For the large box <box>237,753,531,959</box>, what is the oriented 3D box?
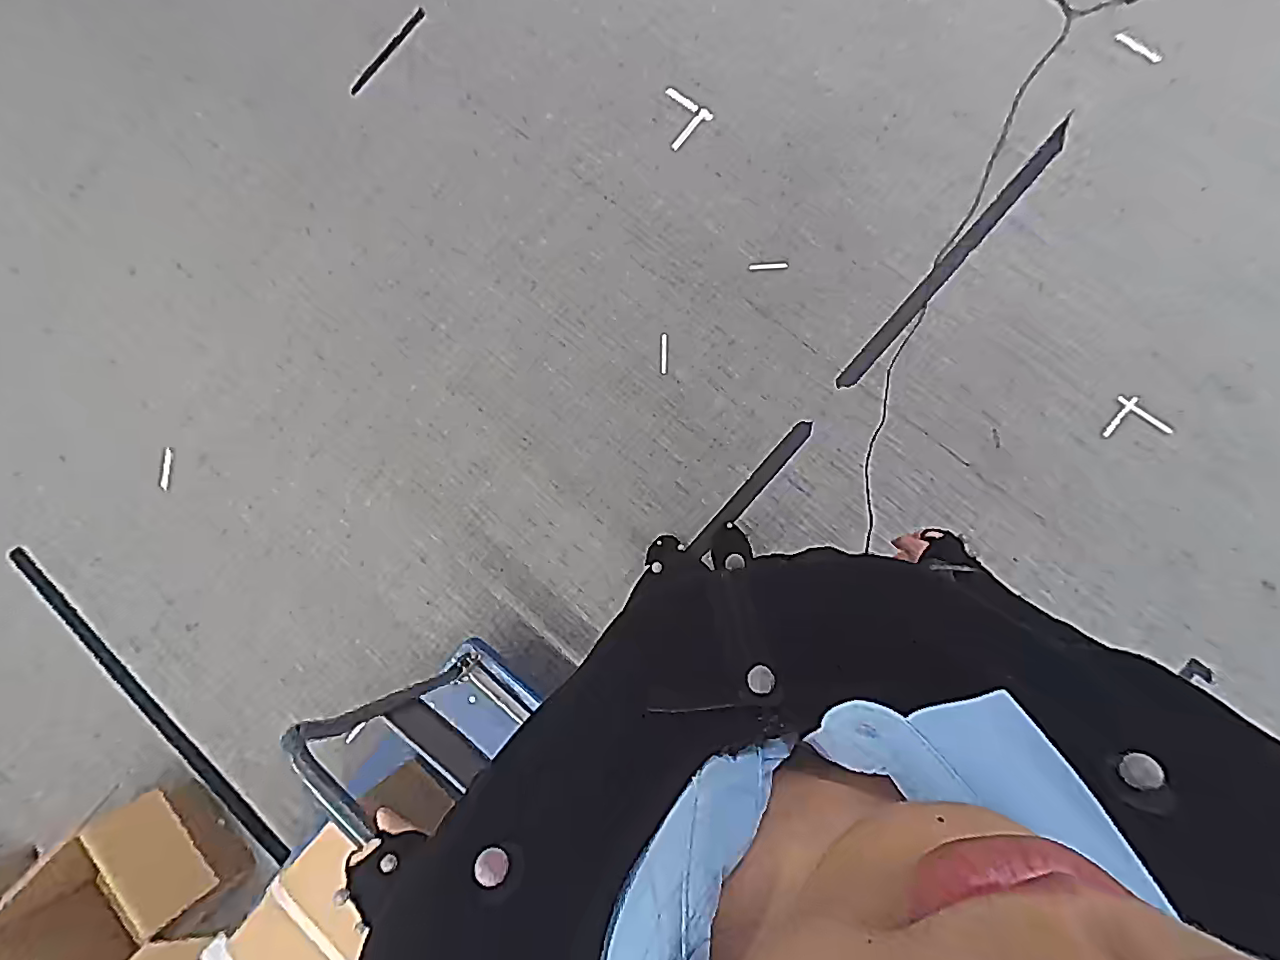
[{"bbox_3d":[-0.512,0.886,1.156,0.408,0.320,0.320,40,89,8],"label":"large box"}]
